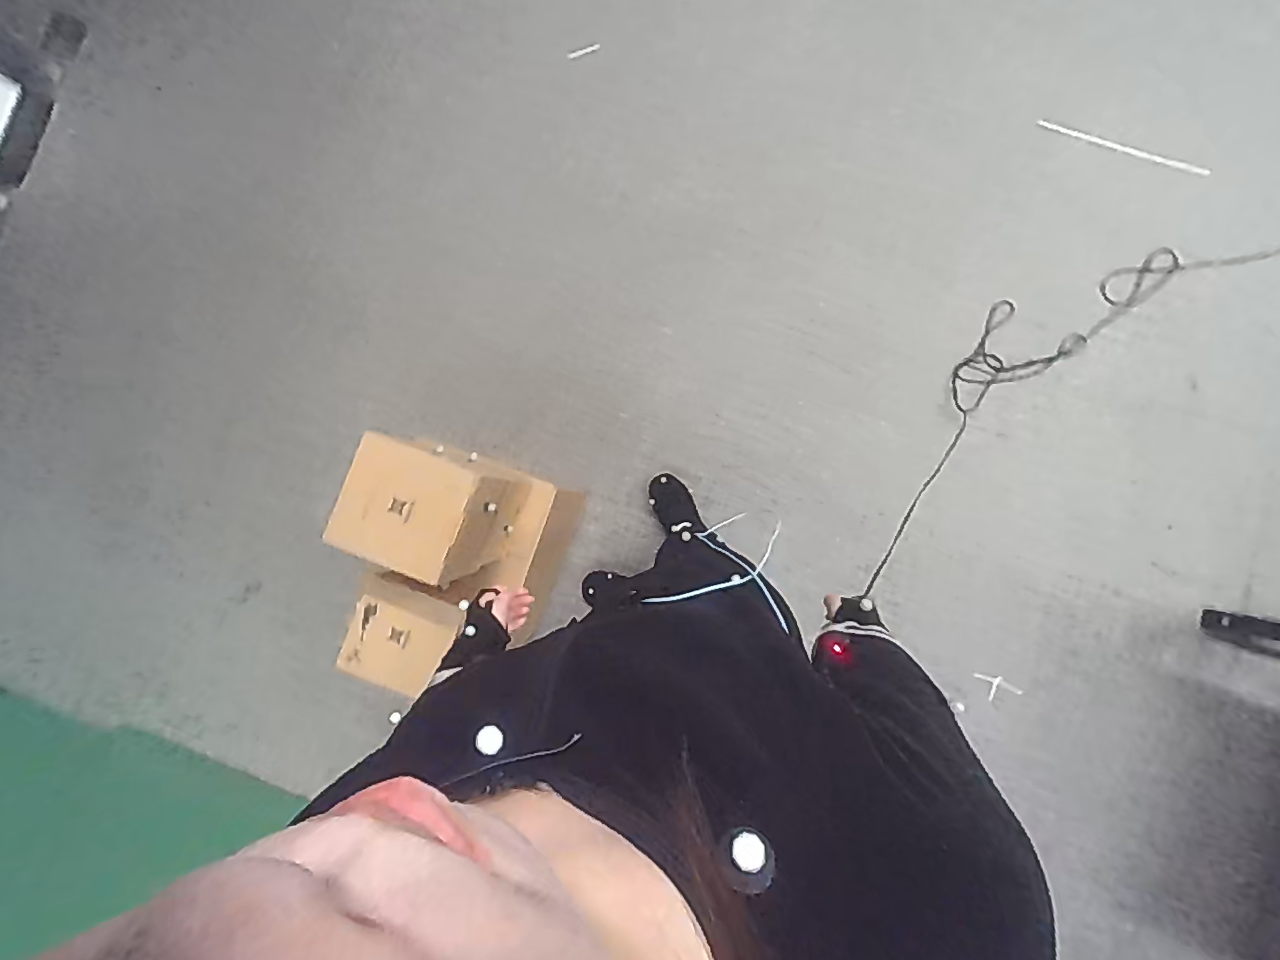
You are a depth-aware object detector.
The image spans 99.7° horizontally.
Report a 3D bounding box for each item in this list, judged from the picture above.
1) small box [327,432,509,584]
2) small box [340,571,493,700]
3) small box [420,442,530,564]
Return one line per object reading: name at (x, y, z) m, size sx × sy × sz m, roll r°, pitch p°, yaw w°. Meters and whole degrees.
small box at (-0.323, 0.039, 0.826) m, size 0.179 × 0.176 × 0.168 m, roll 21°, pitch 89°, yaw 4°
small box at (-0.390, 0.266, 0.981) m, size 0.179 × 0.176 × 0.168 m, roll 20°, pitch 87°, yaw 2°
small box at (-0.325, 0.043, 0.989) m, size 0.179 × 0.176 × 0.168 m, roll 20°, pitch 89°, yaw 3°
